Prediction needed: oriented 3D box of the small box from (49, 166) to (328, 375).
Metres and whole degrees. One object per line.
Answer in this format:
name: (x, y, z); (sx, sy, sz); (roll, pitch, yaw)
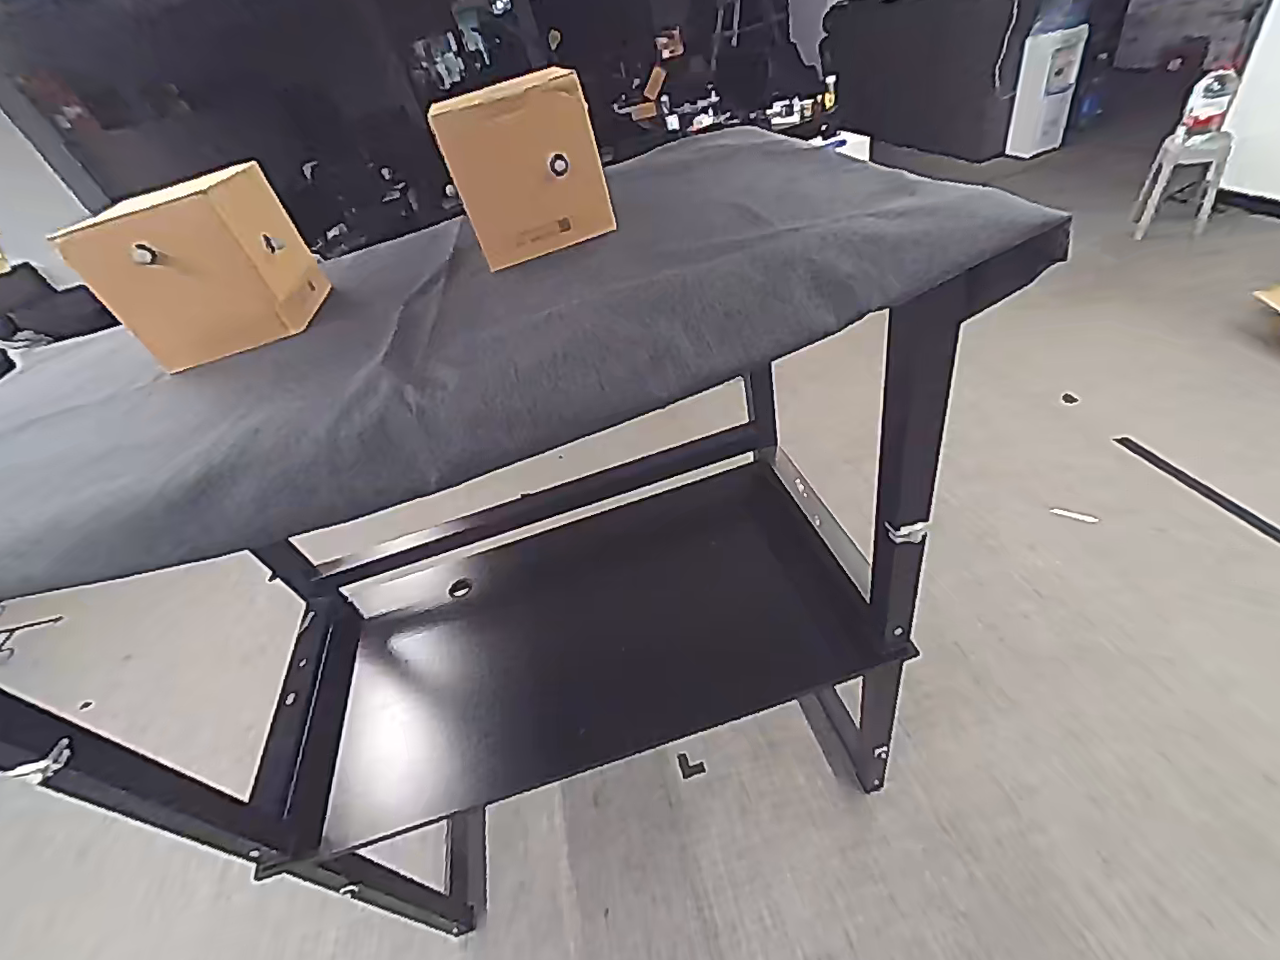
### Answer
small box: (-0.528, -0.258, 0.671); (0.179, 0.176, 0.168); (-18, 41, 0)

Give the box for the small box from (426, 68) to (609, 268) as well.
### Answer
small box: (-0.148, -0.387, 0.678); (0.168, 0.176, 0.179); (-19, 41, -3)
